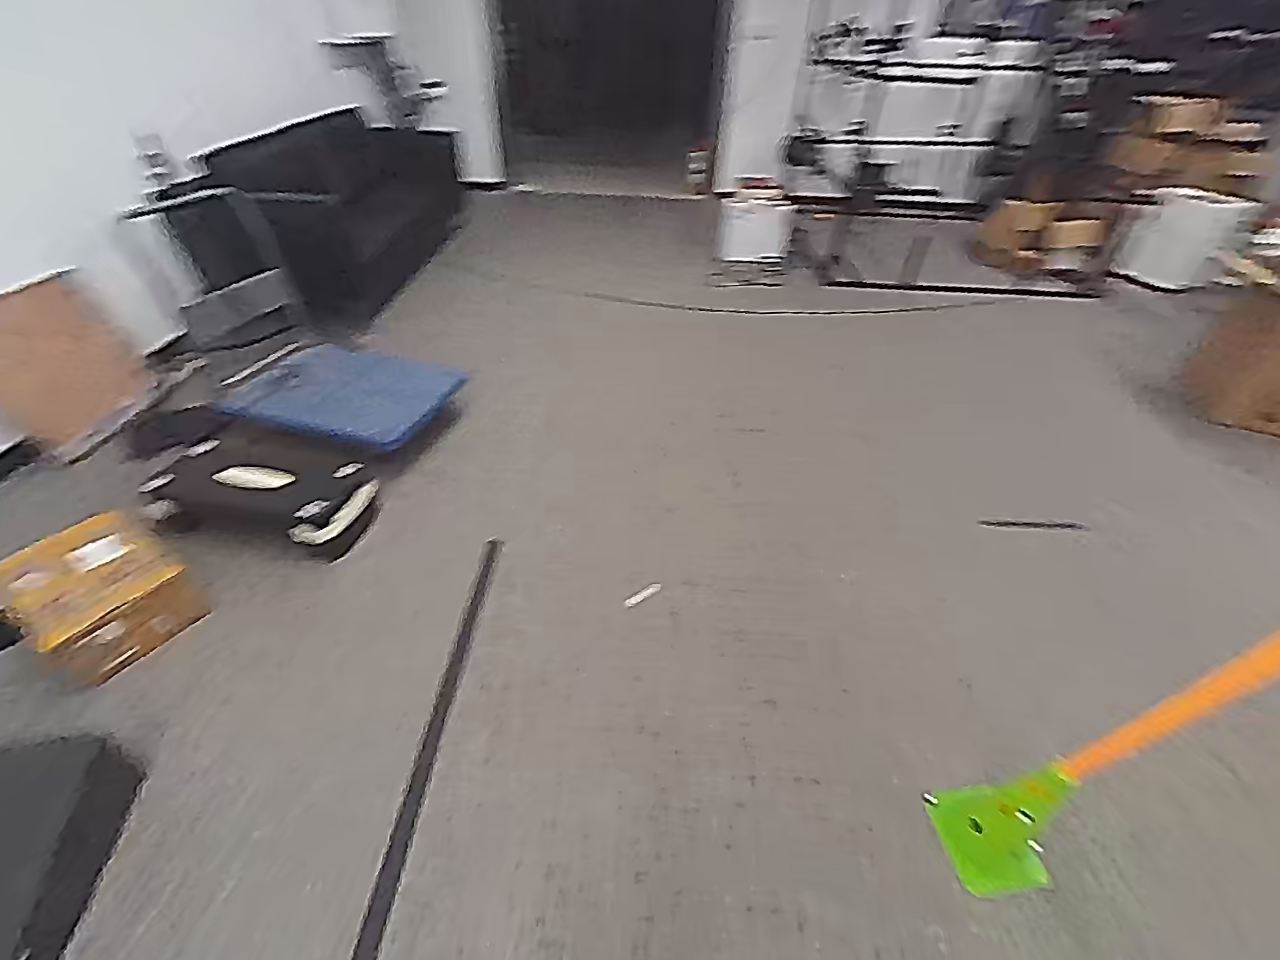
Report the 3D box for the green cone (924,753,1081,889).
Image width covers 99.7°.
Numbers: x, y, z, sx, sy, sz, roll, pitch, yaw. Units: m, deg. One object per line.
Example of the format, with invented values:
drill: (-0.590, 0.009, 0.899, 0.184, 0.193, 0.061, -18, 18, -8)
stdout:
green cone: (0.794, 0.676, 1.128, 0.202, 0.368, 0.200, -3, 40, -10)
